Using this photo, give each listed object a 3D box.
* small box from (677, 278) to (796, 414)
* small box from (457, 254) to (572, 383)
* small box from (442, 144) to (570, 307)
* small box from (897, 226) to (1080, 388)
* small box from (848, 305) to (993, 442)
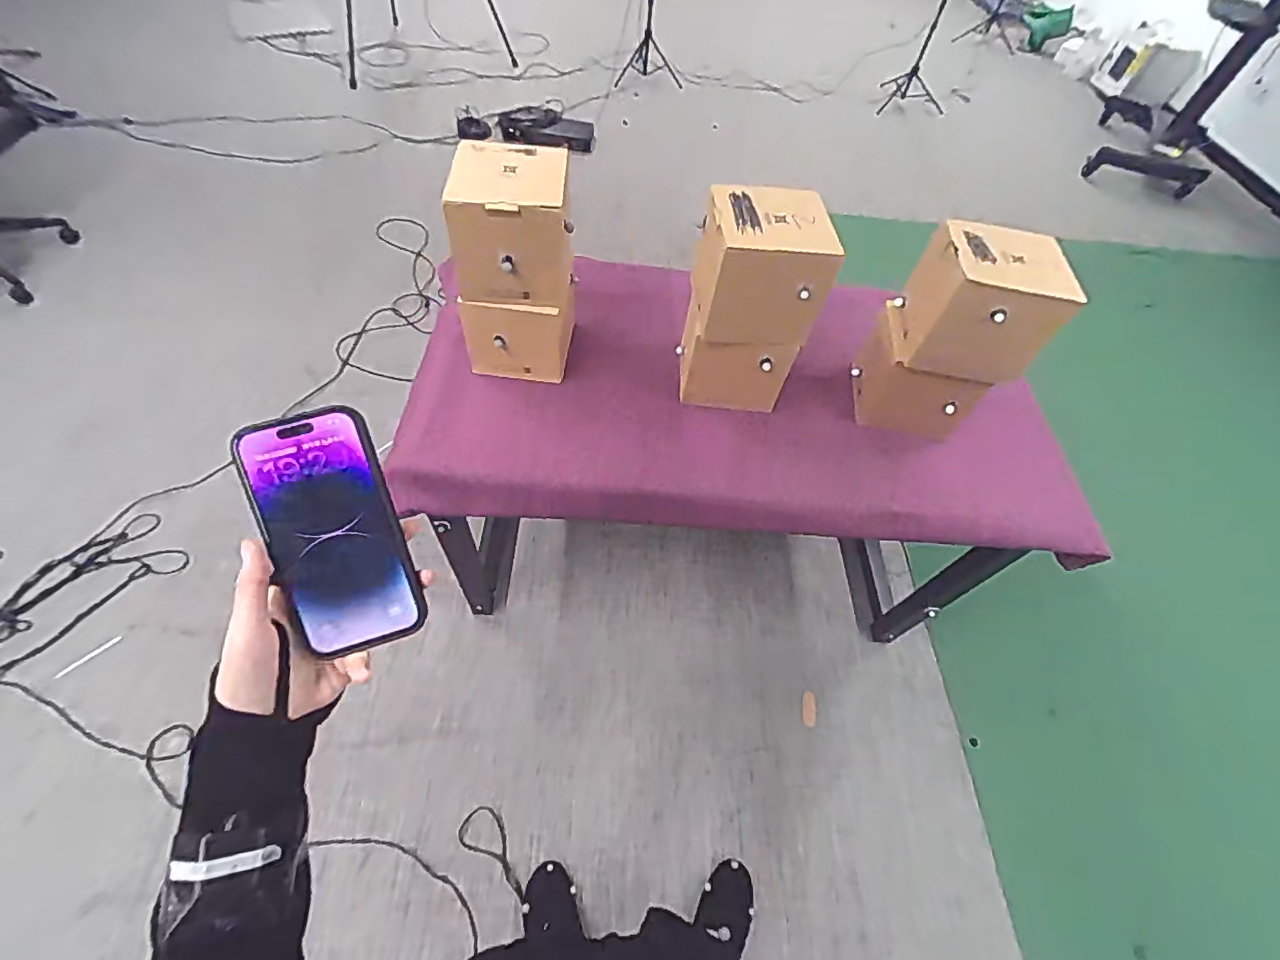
[{"bbox_3d":[0.170,-0.240,0.994,0.179,0.176,0.168,6,55,-2],"label":"small box"},{"bbox_3d":[-0.217,-0.299,0.990,0.168,0.176,0.179,7,56,-2],"label":"small box"},{"bbox_3d":[-0.200,-0.397,0.859,0.168,0.176,0.179,3,57,-5],"label":"small box"},{"bbox_3d":[0.530,-0.268,0.859,0.179,0.176,0.168,11,55,0],"label":"small box"},{"bbox_3d":[0.506,-0.191,1.002,0.179,0.176,0.168,11,55,1],"label":"small box"}]
